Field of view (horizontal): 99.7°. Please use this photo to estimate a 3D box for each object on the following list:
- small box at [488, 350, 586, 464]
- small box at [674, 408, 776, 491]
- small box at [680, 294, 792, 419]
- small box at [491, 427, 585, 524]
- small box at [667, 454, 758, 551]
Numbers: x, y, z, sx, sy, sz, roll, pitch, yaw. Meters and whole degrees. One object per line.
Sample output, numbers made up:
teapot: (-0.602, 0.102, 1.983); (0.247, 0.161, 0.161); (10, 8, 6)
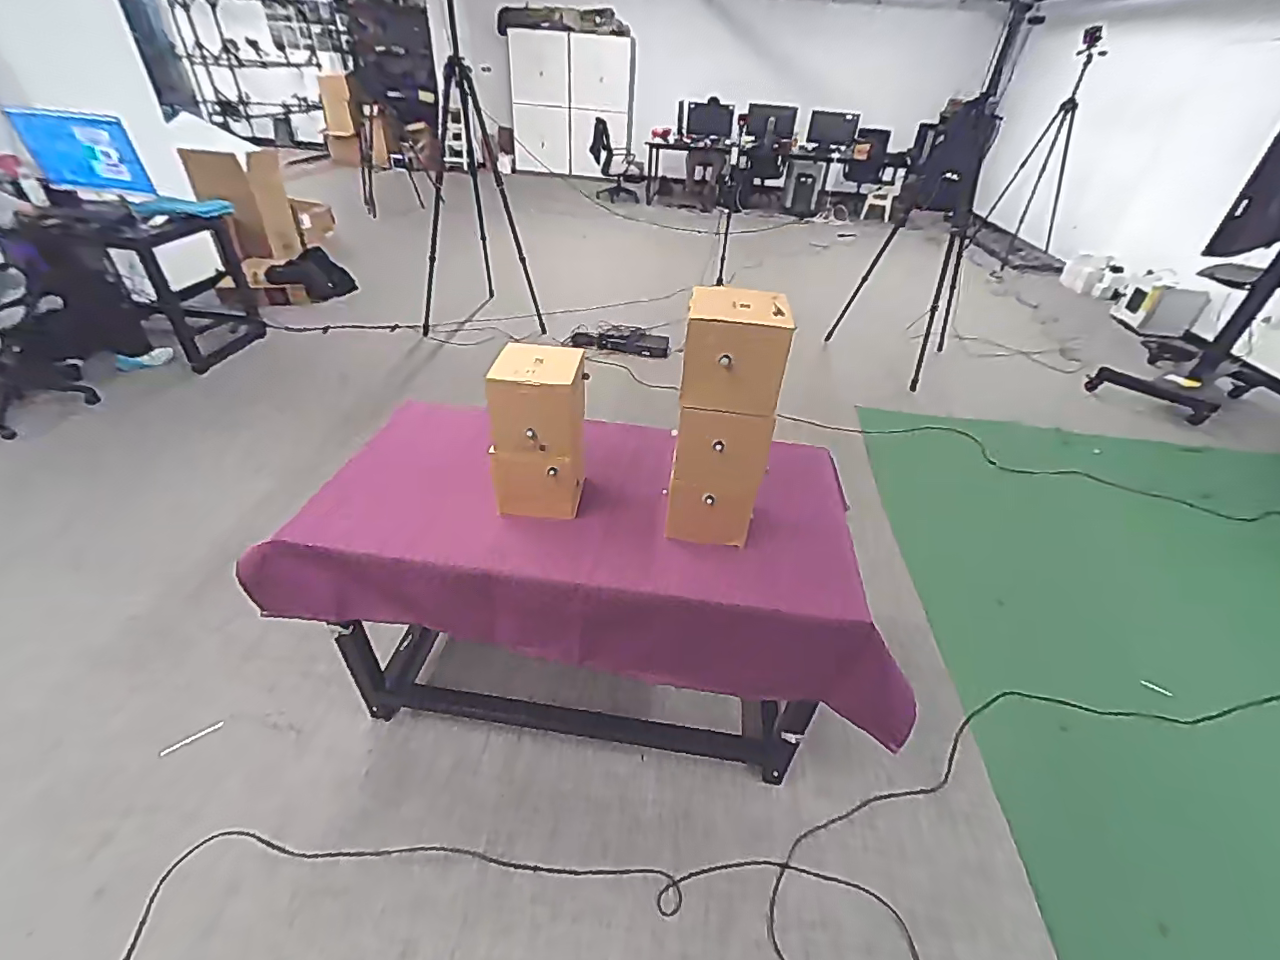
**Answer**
small box: (-0.208, -0.155, 1.135); (0.168, 0.176, 0.179); (5, 36, 1)
small box: (0.167, -0.094, 1.085); (0.179, 0.176, 0.168); (7, 38, 5)
small box: (0.169, -0.225, 0.987); (0.179, 0.176, 0.168); (6, 38, 5)
small box: (-0.223, -0.017, 1.225); (0.179, 0.176, 0.168); (5, 36, 1)
small box: (0.155, 0.036, 1.185); (0.179, 0.176, 0.168); (8, 38, 5)
